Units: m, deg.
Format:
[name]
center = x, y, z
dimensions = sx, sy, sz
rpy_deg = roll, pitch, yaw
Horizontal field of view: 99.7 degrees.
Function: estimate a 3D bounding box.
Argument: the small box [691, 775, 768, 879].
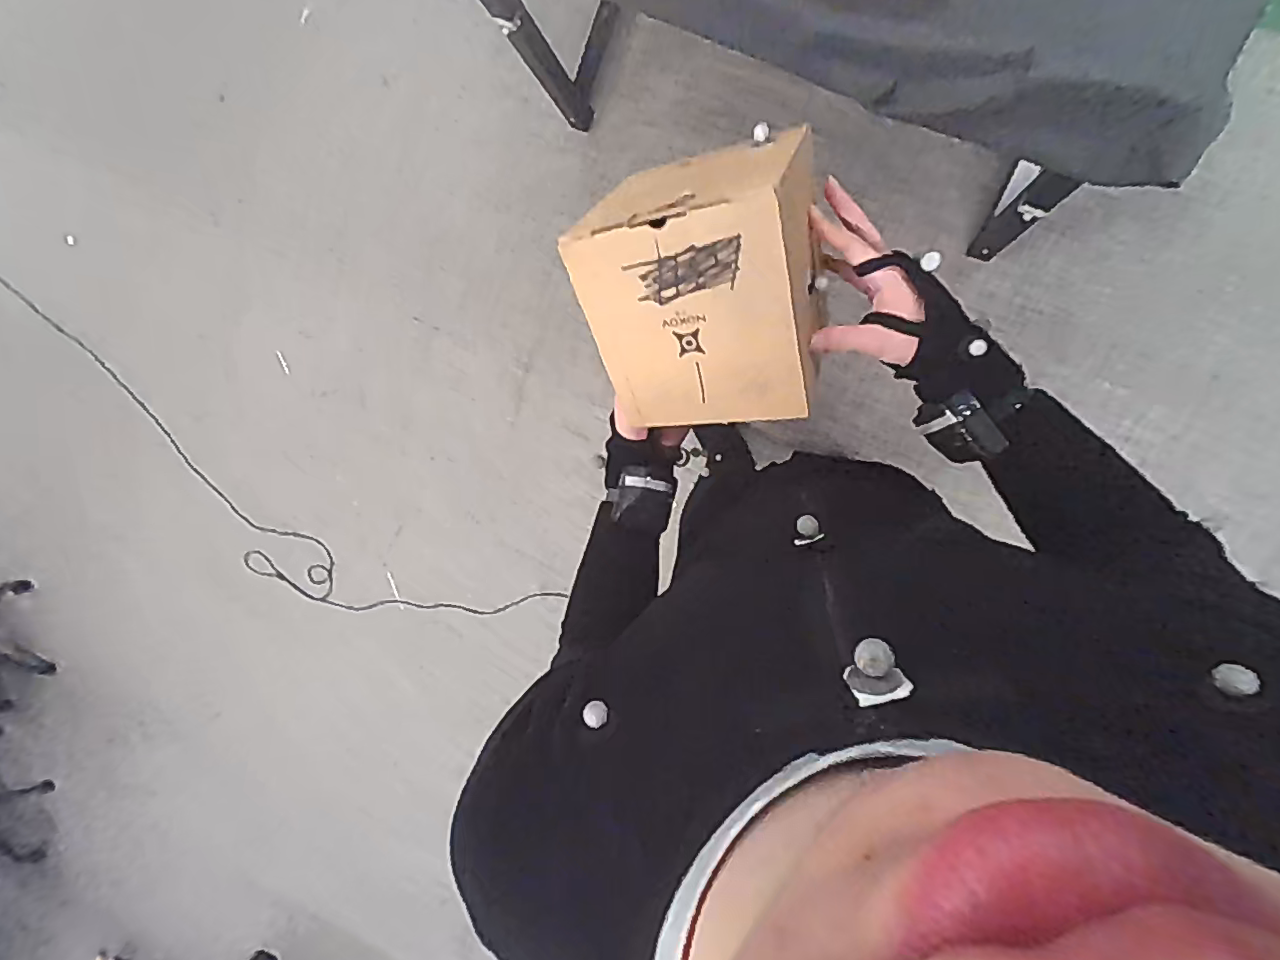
[small box]
center = 0.267, 1.007, 1.577
dimensions = 0.168, 0.176, 0.179
rpy_deg = -24, 89, 15
